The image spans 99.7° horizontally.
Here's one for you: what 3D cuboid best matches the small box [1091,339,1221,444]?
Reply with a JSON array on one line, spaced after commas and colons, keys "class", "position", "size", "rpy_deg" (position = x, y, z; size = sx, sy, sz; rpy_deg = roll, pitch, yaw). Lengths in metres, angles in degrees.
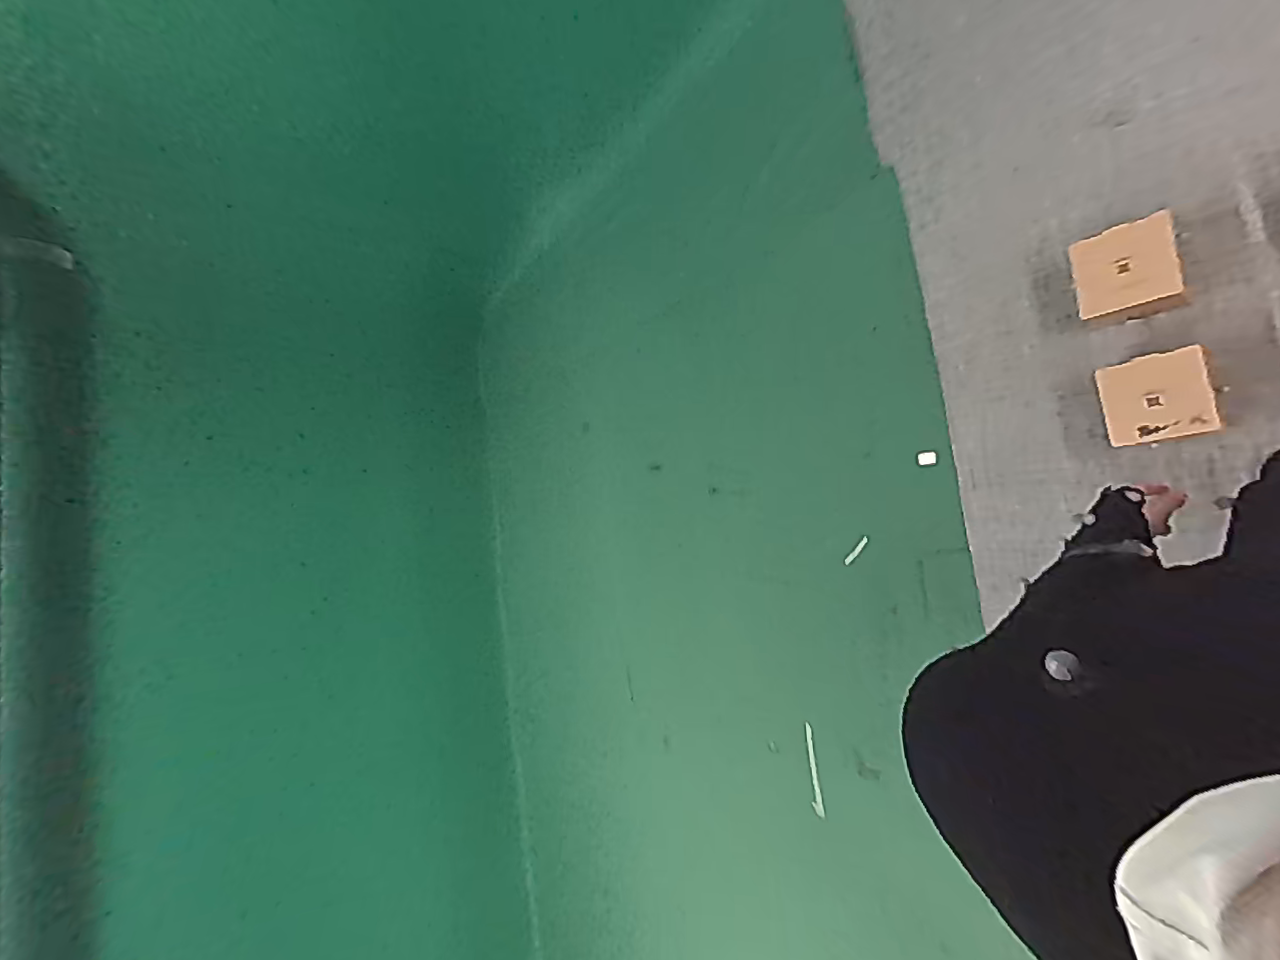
[{"class": "small box", "position": [1.099, -0.179, 1.152], "size": [0.168, 0.176, 0.179], "rpy_deg": [-15, 80, 51]}]
